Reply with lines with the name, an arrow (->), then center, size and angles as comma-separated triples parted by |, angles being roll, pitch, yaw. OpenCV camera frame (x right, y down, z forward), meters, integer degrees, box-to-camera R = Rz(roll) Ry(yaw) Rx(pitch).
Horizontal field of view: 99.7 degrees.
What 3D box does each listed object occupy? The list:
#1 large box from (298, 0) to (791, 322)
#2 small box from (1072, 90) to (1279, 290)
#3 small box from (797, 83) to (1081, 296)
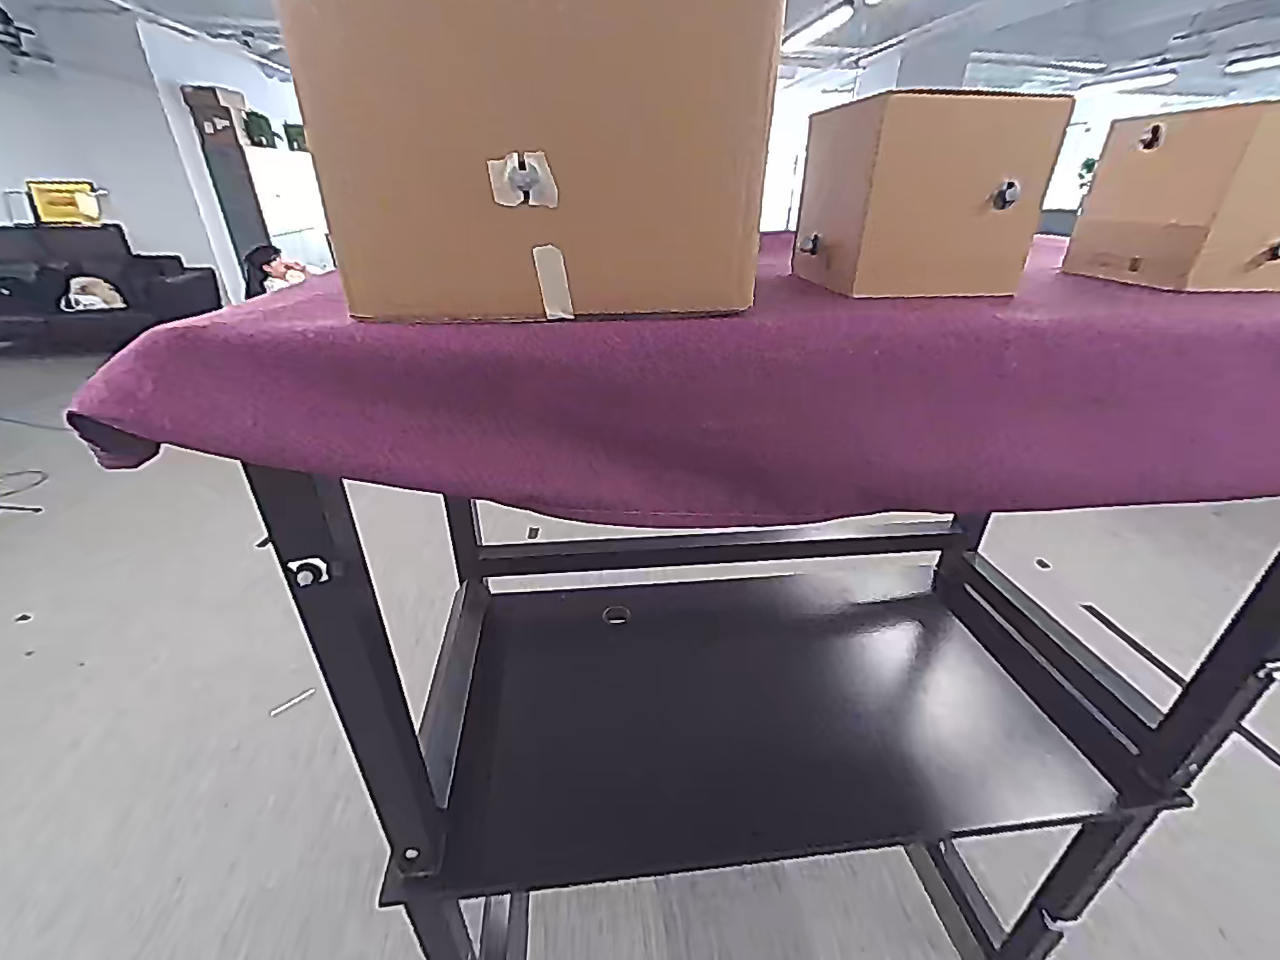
large box -> -0.083, -0.348, 0.514 | 0.320, 0.320, 0.408 | -3, 28, -8
small box -> 0.635, -0.308, 0.589 | 0.179, 0.176, 0.168 | -2, 28, -4
small box -> 0.281, -0.290, 0.556 | 0.179, 0.176, 0.168 | -3, 28, -6
